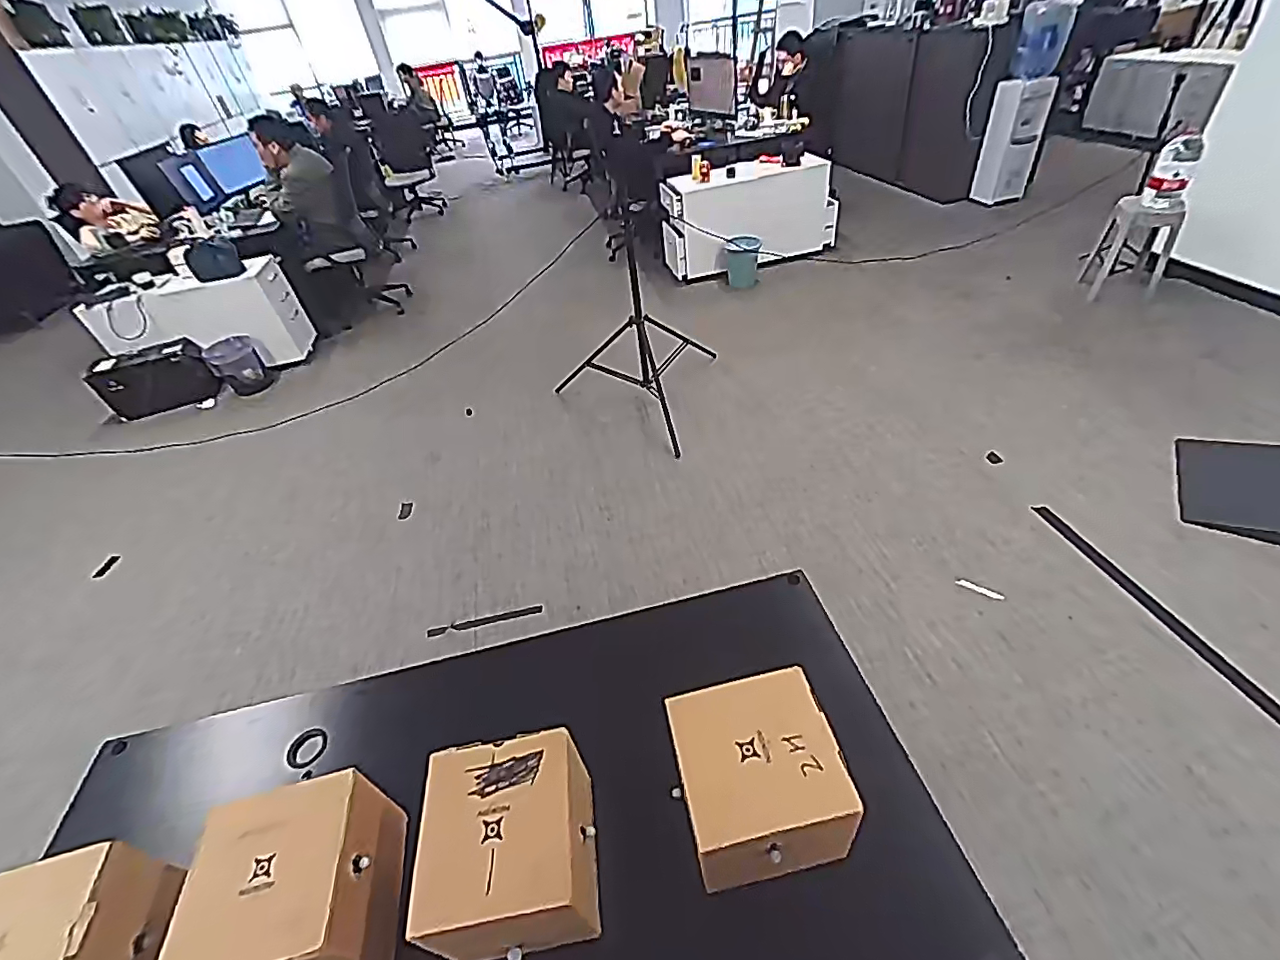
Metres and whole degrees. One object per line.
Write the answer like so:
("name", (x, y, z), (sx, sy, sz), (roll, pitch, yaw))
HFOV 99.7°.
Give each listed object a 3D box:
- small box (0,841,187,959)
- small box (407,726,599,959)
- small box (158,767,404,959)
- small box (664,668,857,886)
("small box", (-0.645, 0.536, 0.595), (0.179, 0.176, 0.168), (-14, 41, -7))
("small box", (-0.147, 0.425, 0.636), (0.168, 0.176, 0.179), (-11, 41, -2))
("small box", (-0.392, 0.474, 0.626), (0.168, 0.176, 0.179), (-13, 40, -6))
("small box", (0.137, 0.362, 0.658), (0.179, 0.176, 0.168), (-12, 41, -3))
